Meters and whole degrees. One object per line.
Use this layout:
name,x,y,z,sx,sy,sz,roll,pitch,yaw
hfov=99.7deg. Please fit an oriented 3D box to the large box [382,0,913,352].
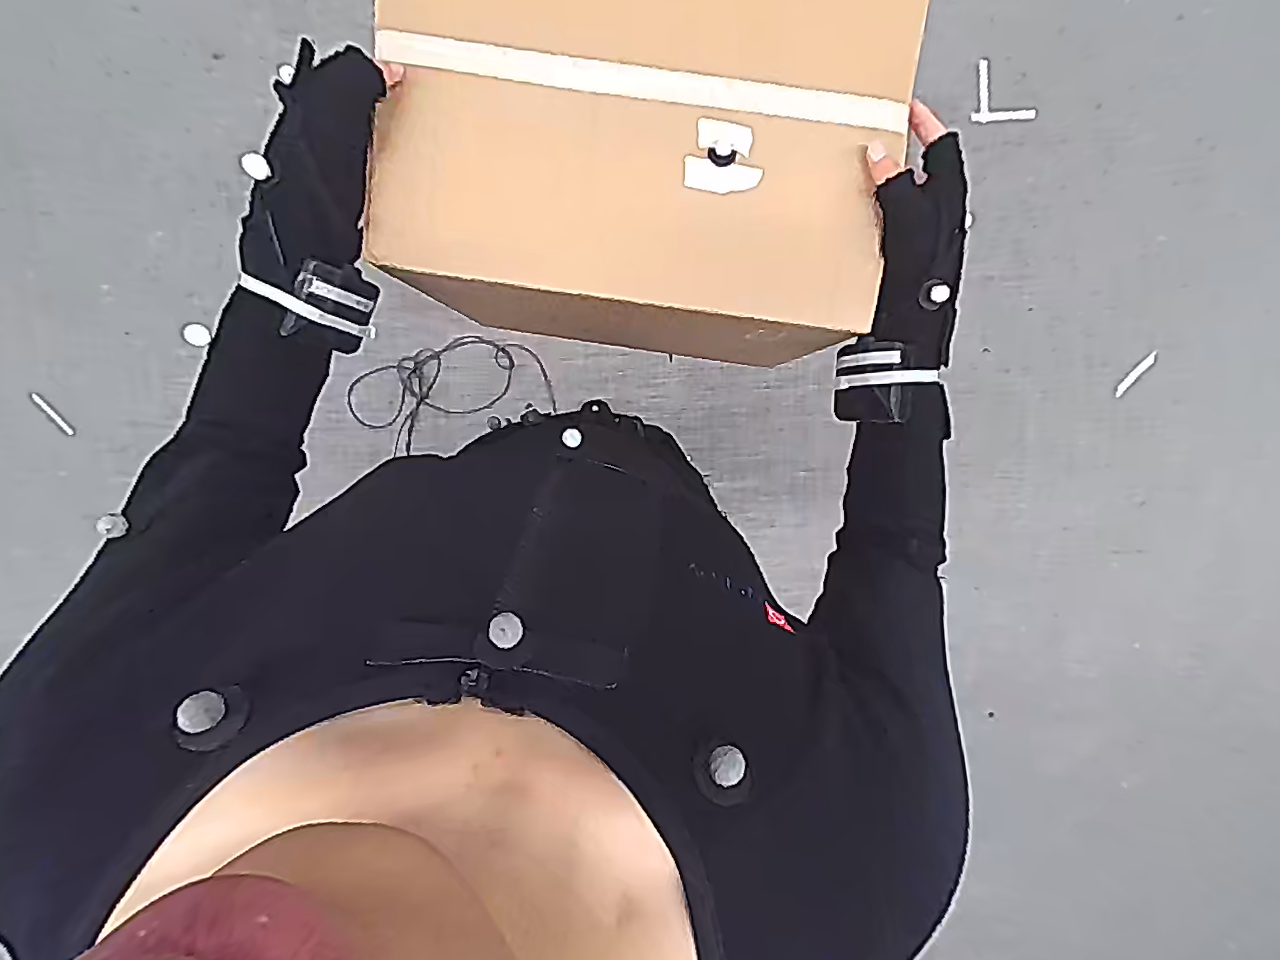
large box,0.002,-0.327,0.569,0.408,0.320,0.320,7,97,-1
